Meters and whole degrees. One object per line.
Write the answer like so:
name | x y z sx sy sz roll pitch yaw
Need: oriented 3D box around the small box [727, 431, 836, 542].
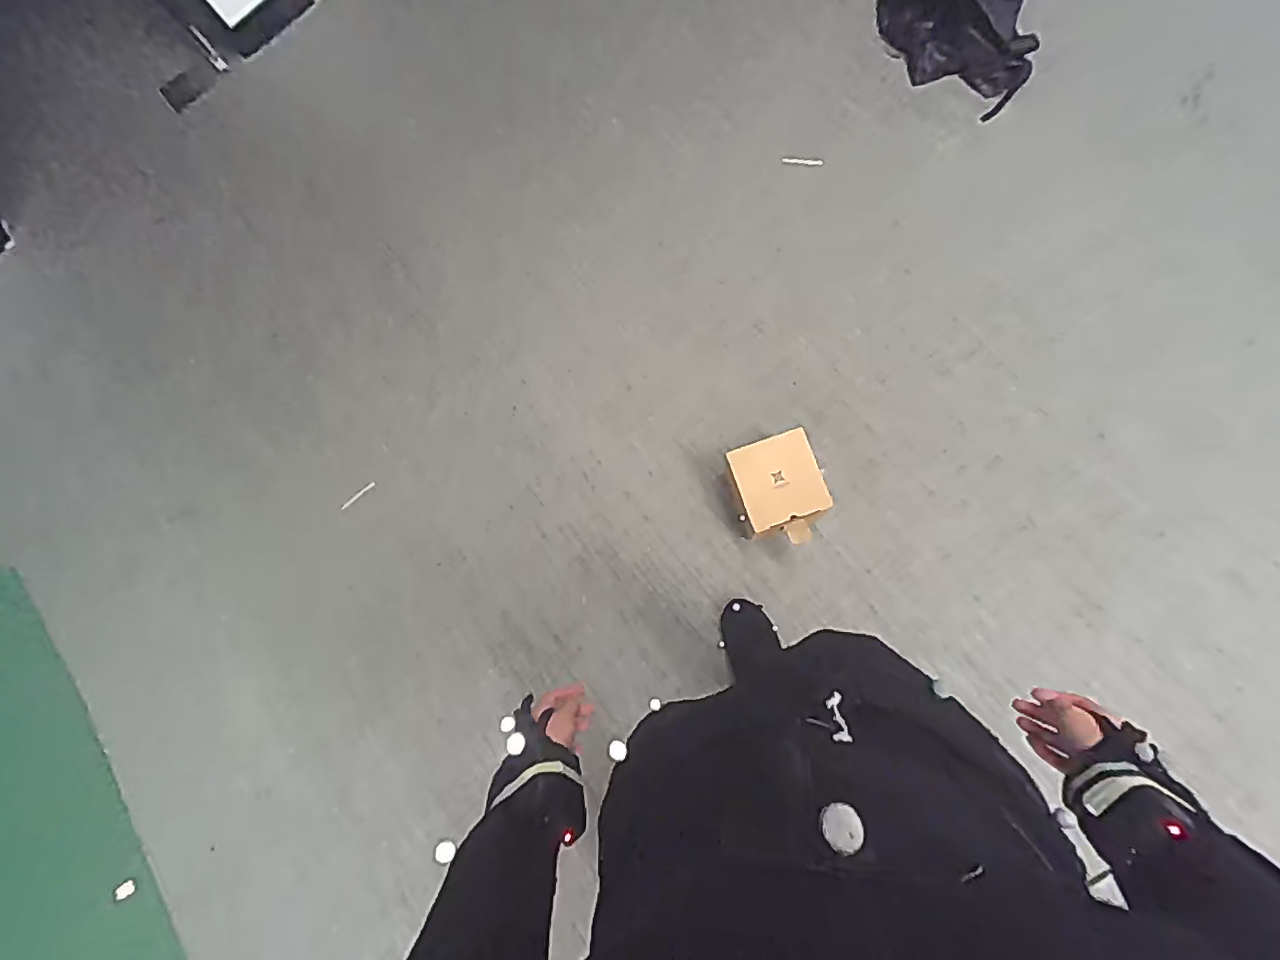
small box | 0.288 0.020 1.149 0.168 0.176 0.179 -19 77 3
